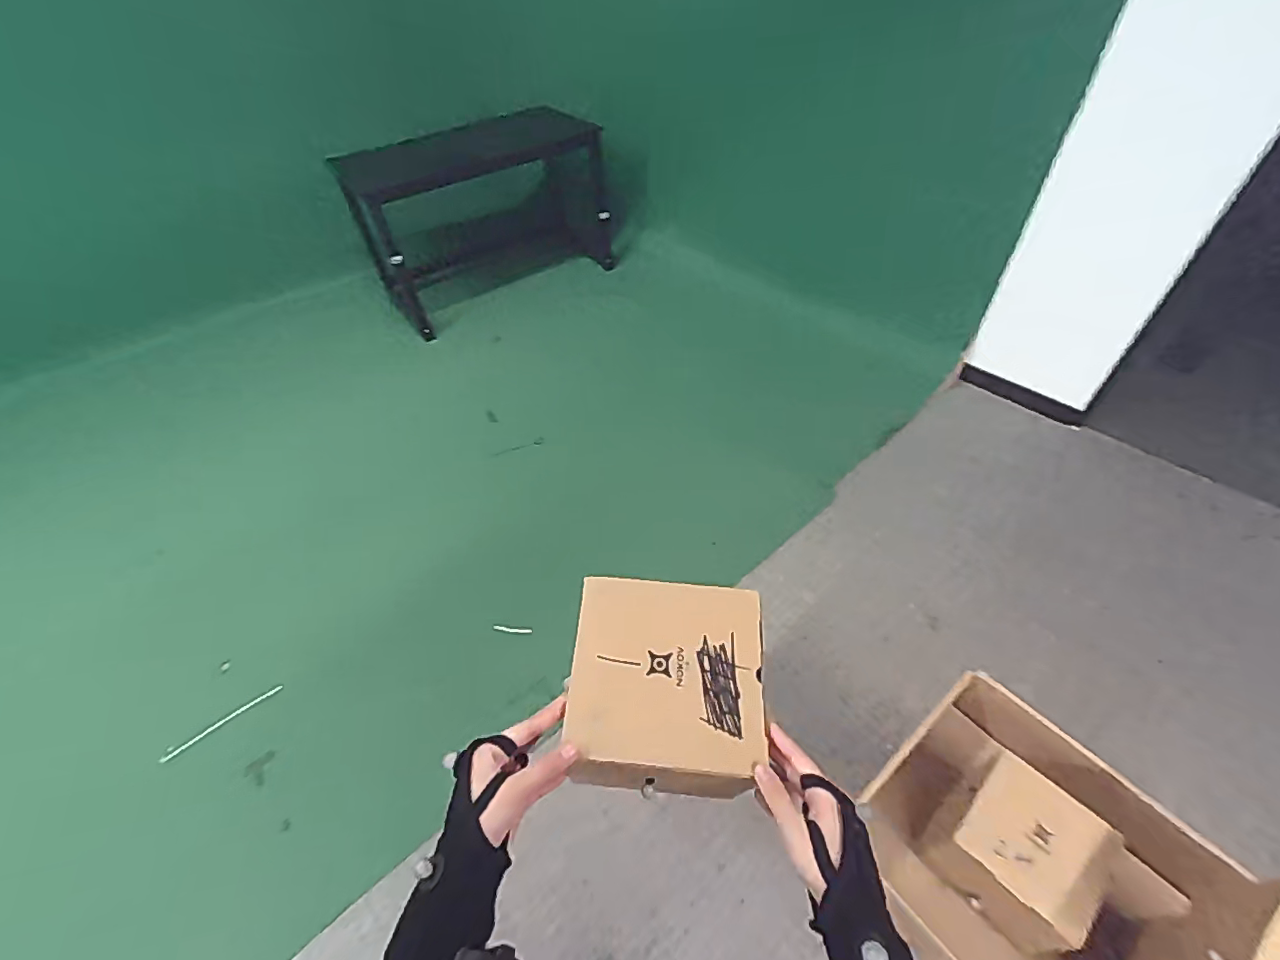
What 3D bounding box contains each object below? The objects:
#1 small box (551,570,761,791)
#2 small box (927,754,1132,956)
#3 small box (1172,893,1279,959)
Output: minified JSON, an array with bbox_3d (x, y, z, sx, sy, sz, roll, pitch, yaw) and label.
[{"bbox_3d":[0.016,0.210,0.552,0.179,0.176,0.168,5,53,1],"label":"small box"},{"bbox_3d":[0.565,0.557,0.807,0.179,0.176,0.168,-36,54,-25],"label":"small box"},{"bbox_3d":[0.705,0.570,0.563,0.179,0.176,0.168,-30,51,-21],"label":"small box"}]
